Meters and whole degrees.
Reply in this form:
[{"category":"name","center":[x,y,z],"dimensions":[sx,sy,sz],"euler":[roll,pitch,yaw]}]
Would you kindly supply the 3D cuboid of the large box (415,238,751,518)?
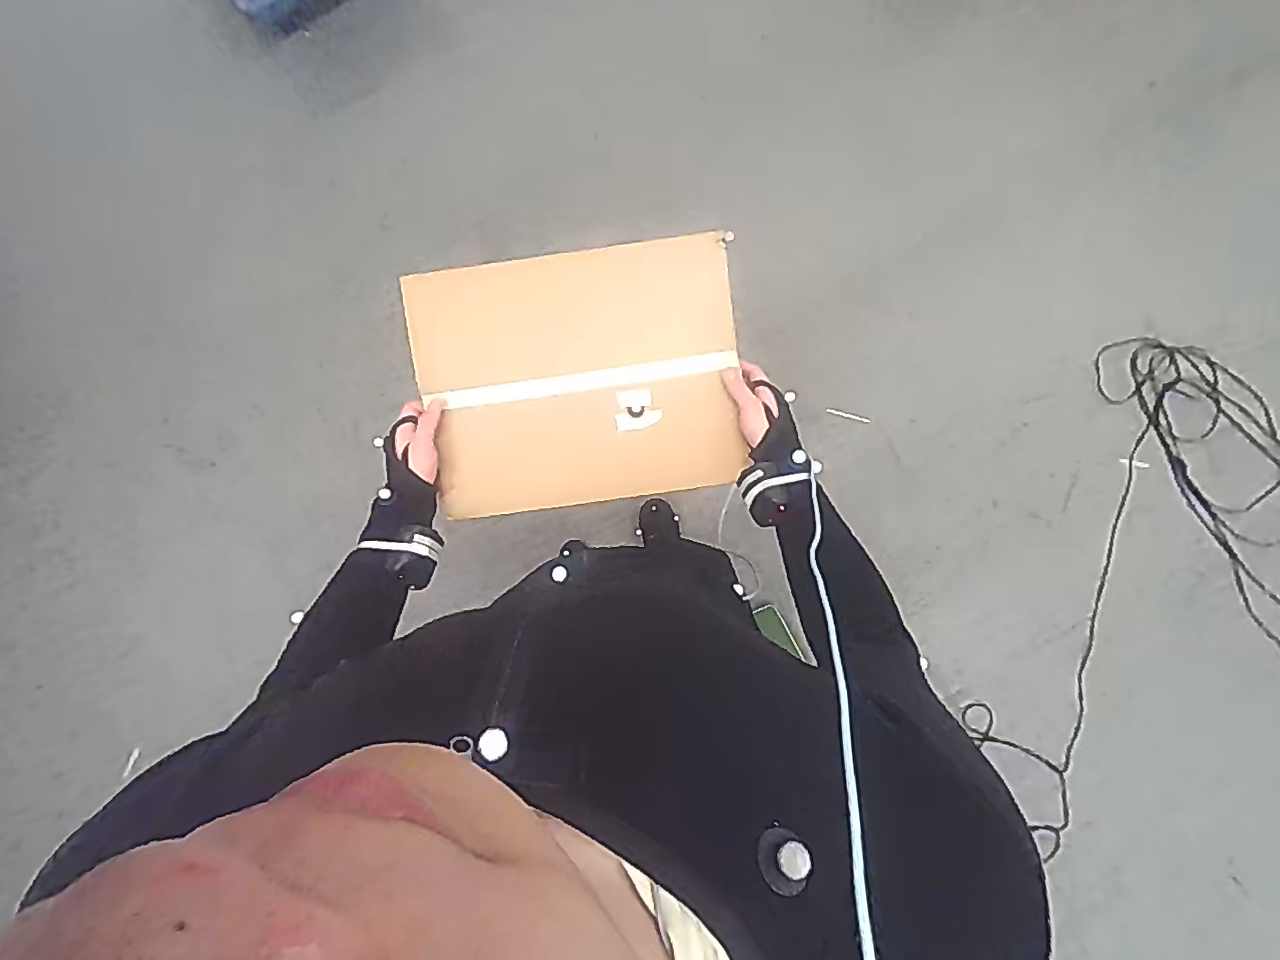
[{"category":"large box","center":[-0.072,-0.142,0.844],"dimensions":[0.408,0.320,0.320],"euler":[-8,97,0]}]
